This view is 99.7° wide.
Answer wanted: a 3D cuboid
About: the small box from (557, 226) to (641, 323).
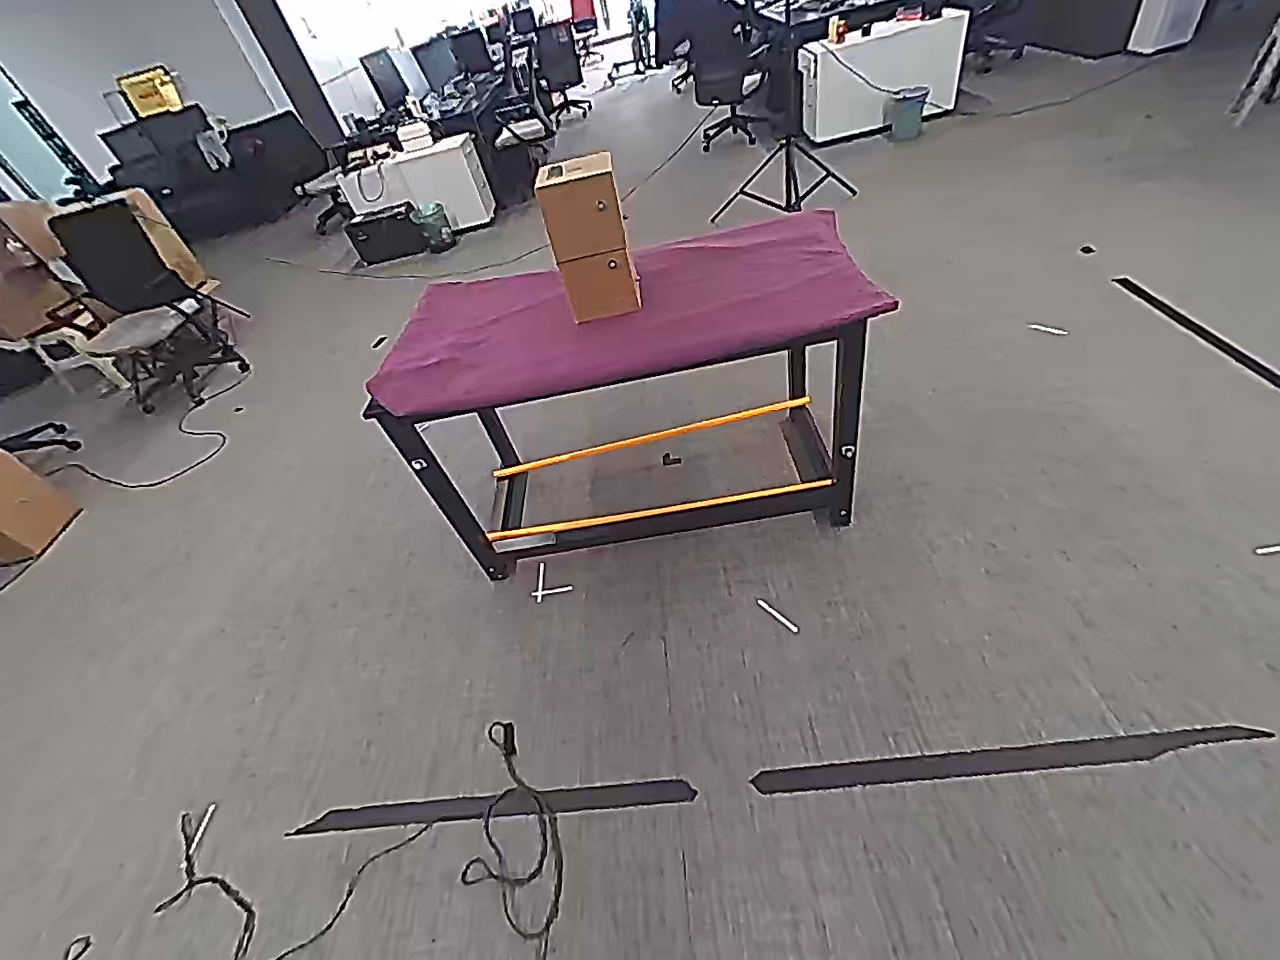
[{"bbox_3d":[-0.101,-0.526,1.396,0.179,0.176,0.168,-10,44,6],"label":"small box"}]
